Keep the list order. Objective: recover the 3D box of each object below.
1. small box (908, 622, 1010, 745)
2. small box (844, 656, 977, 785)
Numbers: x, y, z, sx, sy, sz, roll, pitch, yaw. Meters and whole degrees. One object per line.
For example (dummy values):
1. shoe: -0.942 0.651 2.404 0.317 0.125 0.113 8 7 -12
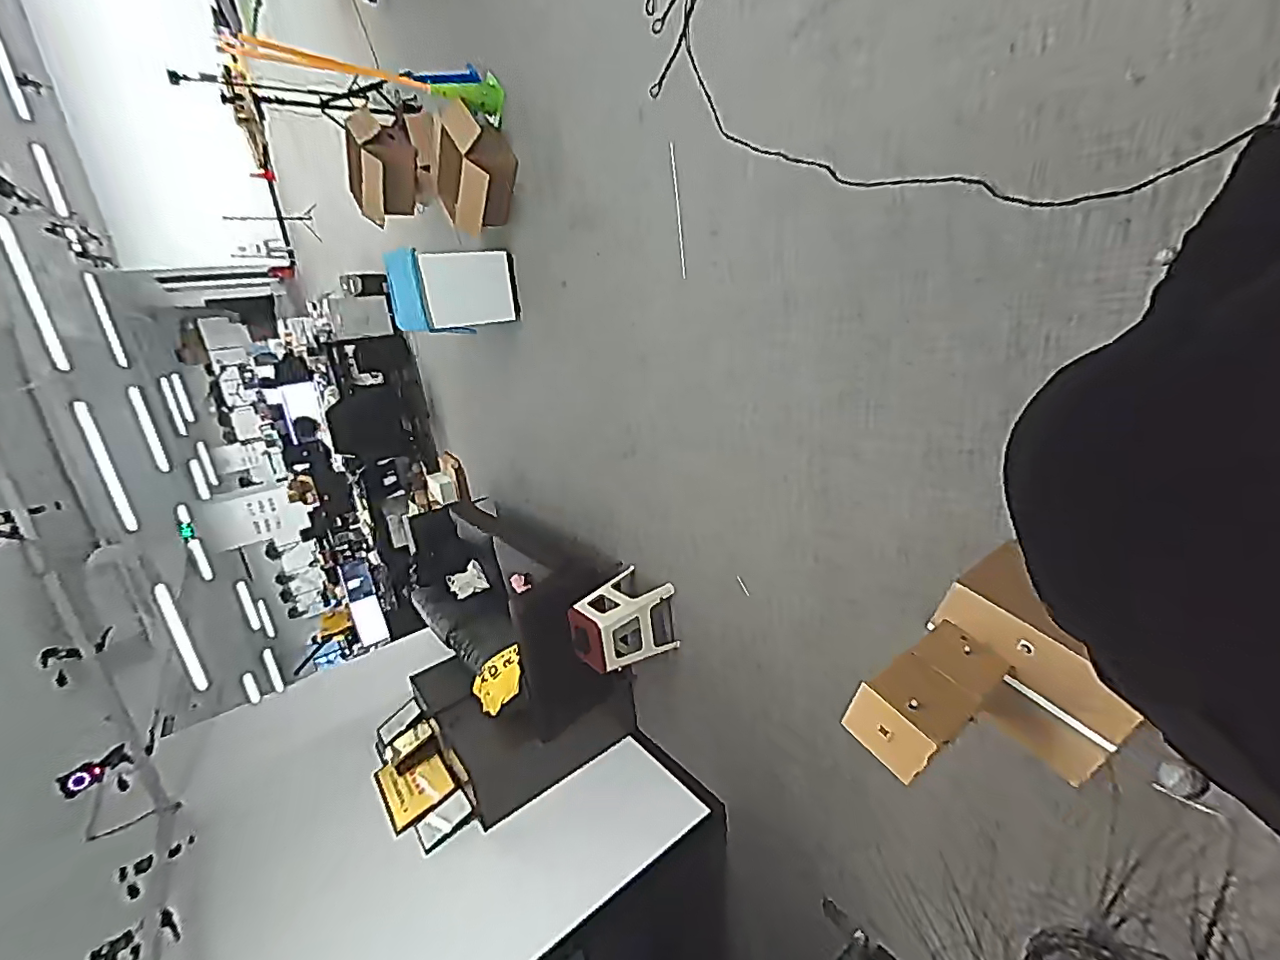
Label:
1. small box: 0.728 0.474 1.275 0.168 0.176 0.179 38 136 40
2. small box: 0.594 0.516 1.194 0.179 0.176 0.168 40 137 38
